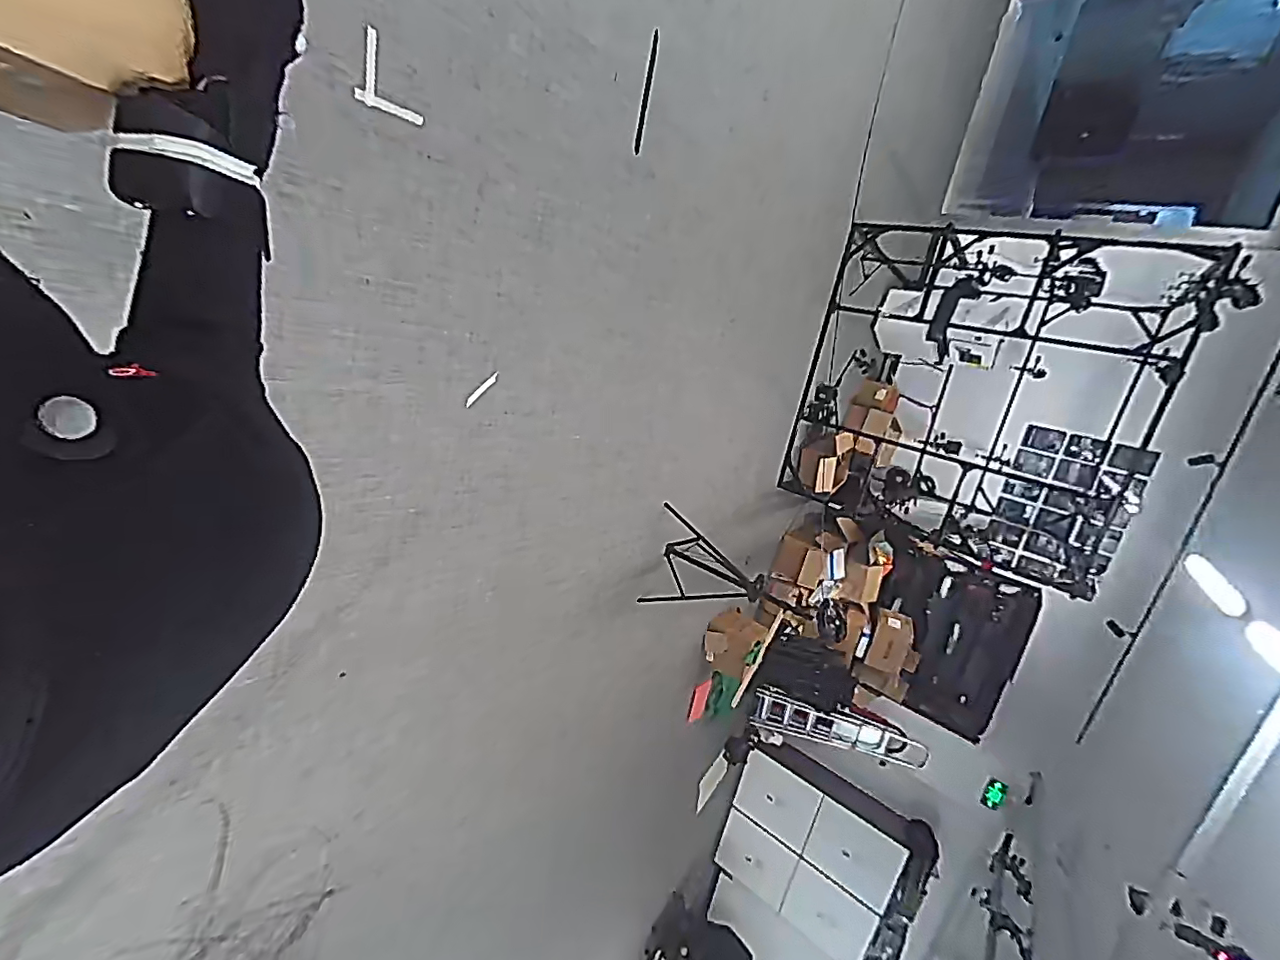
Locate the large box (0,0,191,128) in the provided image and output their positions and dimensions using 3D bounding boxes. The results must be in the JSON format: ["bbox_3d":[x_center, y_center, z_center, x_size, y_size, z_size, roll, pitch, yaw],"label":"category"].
[{"bbox_3d":[-0.520,-0.437,0.266,0.408,0.320,0.320,-2,111,-58],"label":"large box"}]
